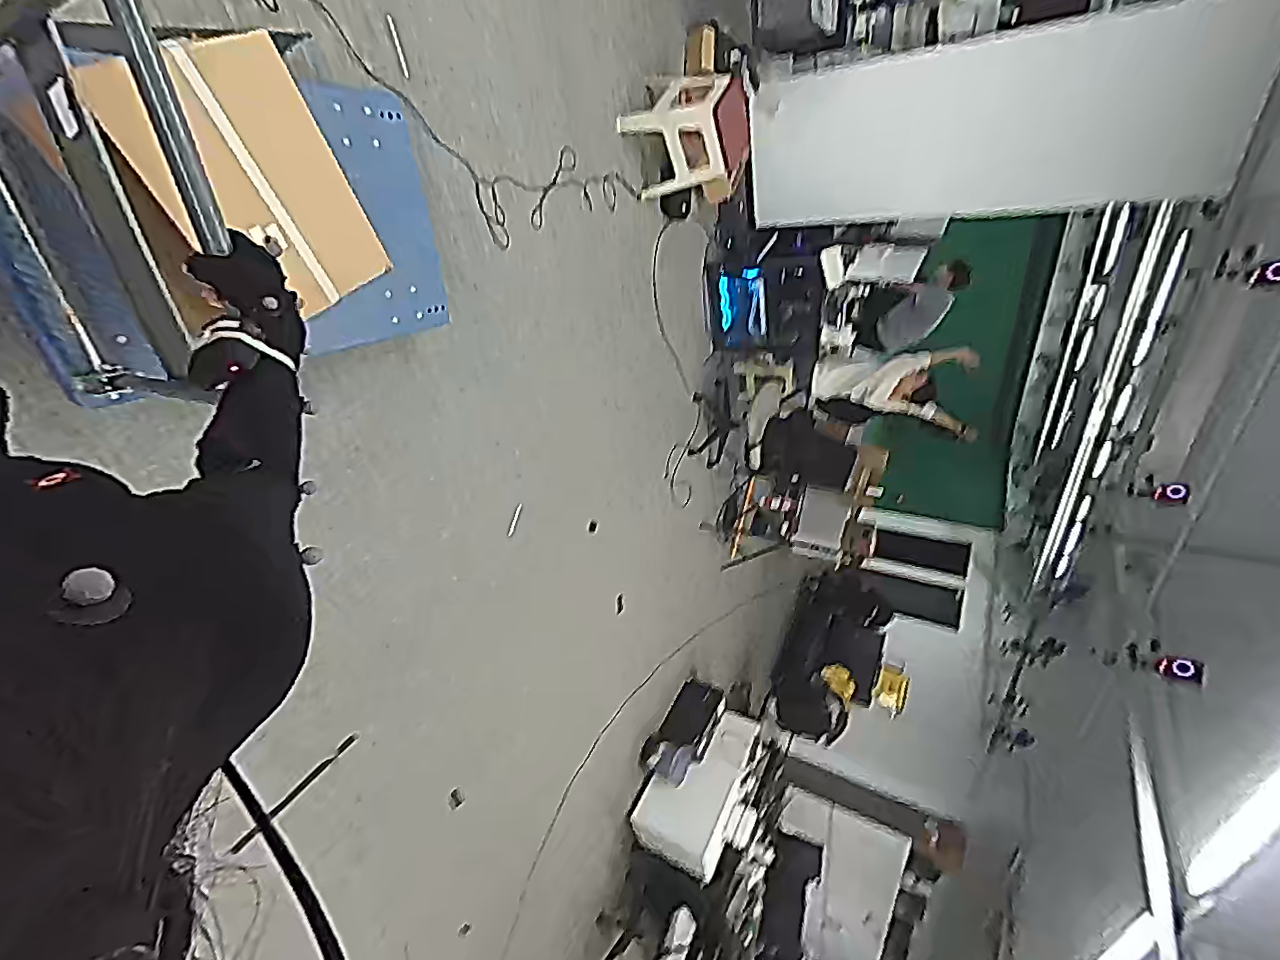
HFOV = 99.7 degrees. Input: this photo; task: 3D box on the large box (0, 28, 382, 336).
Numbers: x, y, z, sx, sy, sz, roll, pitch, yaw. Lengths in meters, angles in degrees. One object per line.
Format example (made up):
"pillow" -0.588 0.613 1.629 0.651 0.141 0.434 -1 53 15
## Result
"large box" -0.784 -0.524 0.994 0.320 0.320 0.408 -54 143 -36
